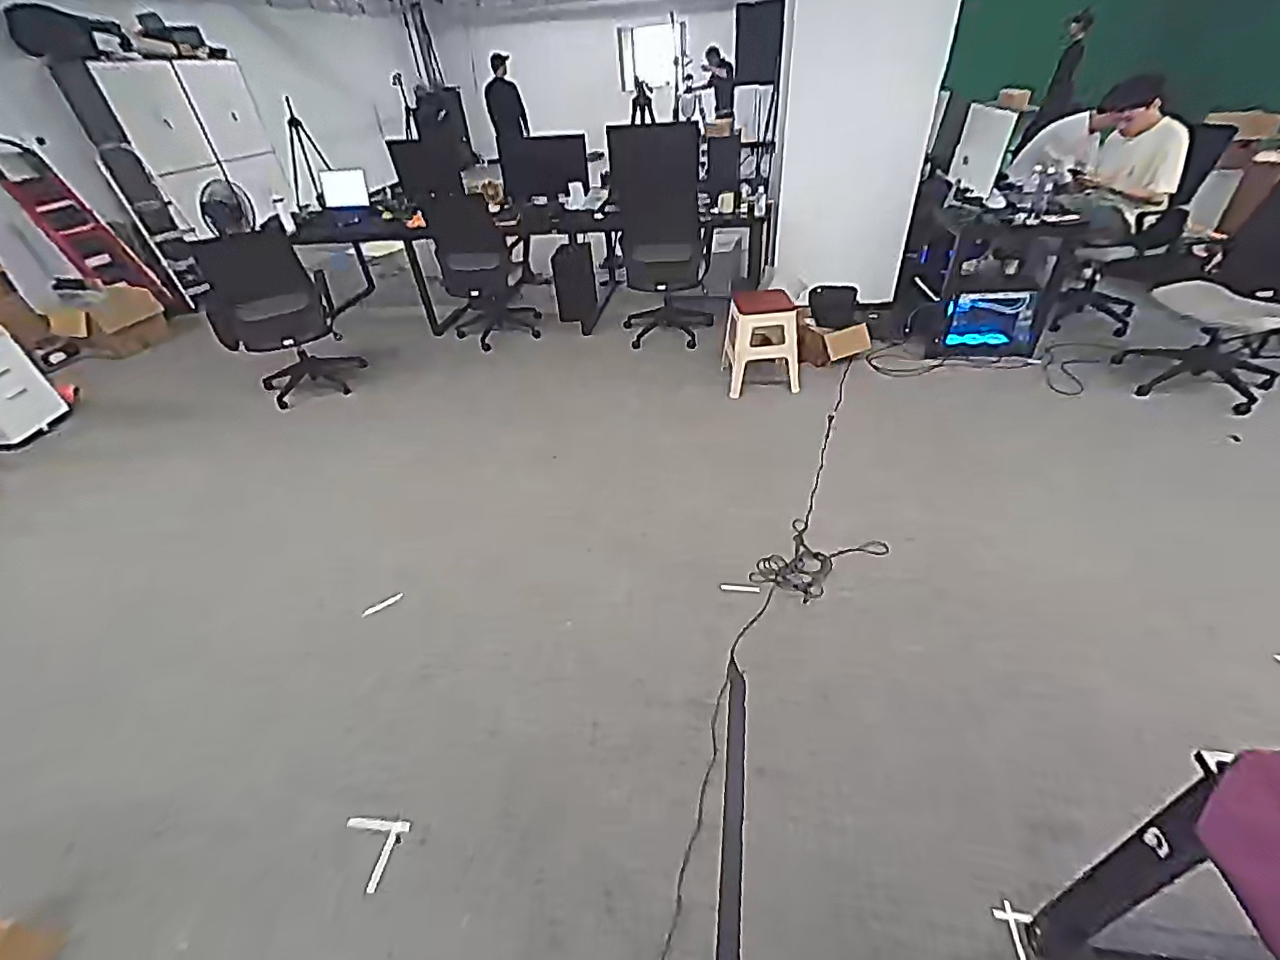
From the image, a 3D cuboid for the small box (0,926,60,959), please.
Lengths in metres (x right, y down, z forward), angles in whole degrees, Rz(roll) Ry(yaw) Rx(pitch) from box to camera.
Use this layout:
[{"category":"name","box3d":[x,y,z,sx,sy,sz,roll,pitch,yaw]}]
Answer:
[{"category":"small box","box3d":[-1.439,1.074,1.161,0.179,0.176,0.168,0,37,8]}]
